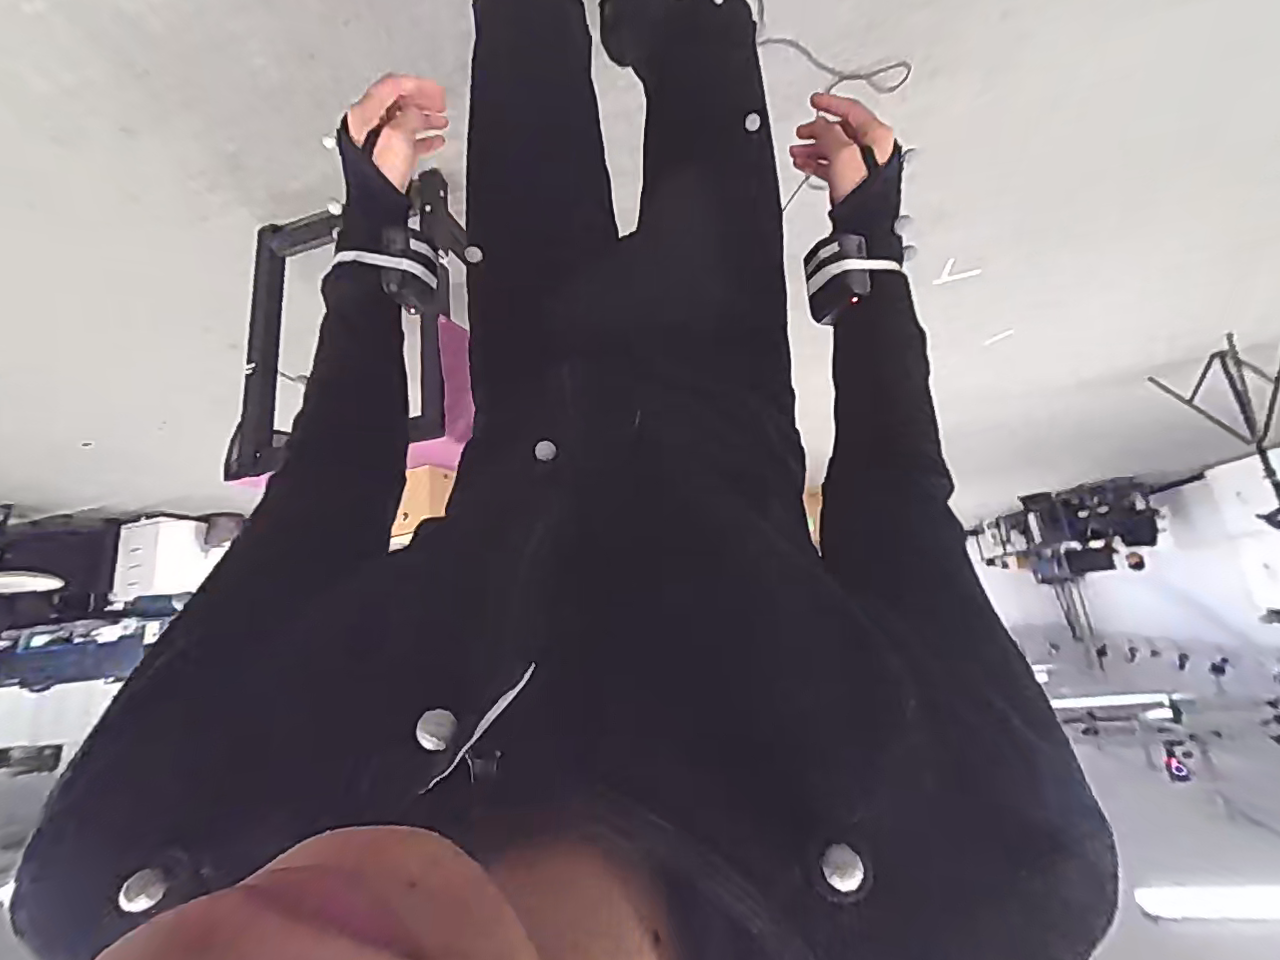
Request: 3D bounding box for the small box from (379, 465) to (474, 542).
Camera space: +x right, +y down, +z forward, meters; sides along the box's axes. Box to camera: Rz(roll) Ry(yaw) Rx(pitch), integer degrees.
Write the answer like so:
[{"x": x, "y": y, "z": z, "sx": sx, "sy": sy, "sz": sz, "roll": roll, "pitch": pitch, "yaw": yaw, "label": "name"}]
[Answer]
[{"x": -0.567, "y": 0.064, "z": 1.432, "sx": 0.179, "sy": 0.176, "sz": 0.168, "roll": -11, "pitch": 165, "yaw": 19, "label": "small box"}]
